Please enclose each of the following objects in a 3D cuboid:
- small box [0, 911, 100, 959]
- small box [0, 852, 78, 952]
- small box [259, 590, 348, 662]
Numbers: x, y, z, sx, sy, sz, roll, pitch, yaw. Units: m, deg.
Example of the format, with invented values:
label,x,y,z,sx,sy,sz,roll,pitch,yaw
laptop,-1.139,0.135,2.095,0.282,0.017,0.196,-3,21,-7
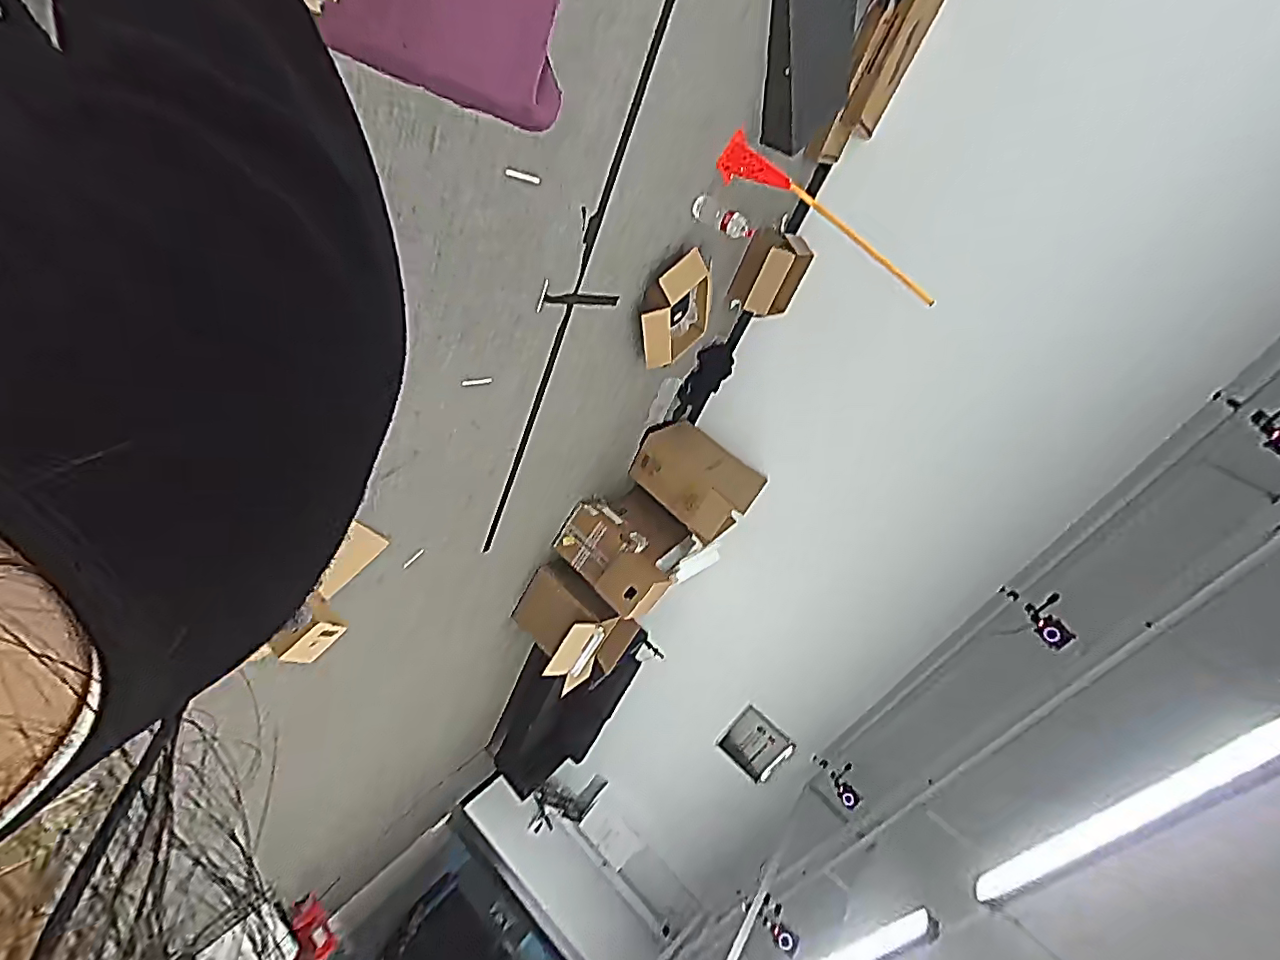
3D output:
label,x,y,z,sx,sy,sz,roll,pitch,yaw
small box,-1.407,1.178,1.275,0.168,0.176,0.179,-19,144,-57
small box,-1.524,1.070,1.320,0.179,0.176,0.168,-23,148,-56
small box,-1.207,0.522,1.937,0.179,0.176,0.168,-45,159,-12
